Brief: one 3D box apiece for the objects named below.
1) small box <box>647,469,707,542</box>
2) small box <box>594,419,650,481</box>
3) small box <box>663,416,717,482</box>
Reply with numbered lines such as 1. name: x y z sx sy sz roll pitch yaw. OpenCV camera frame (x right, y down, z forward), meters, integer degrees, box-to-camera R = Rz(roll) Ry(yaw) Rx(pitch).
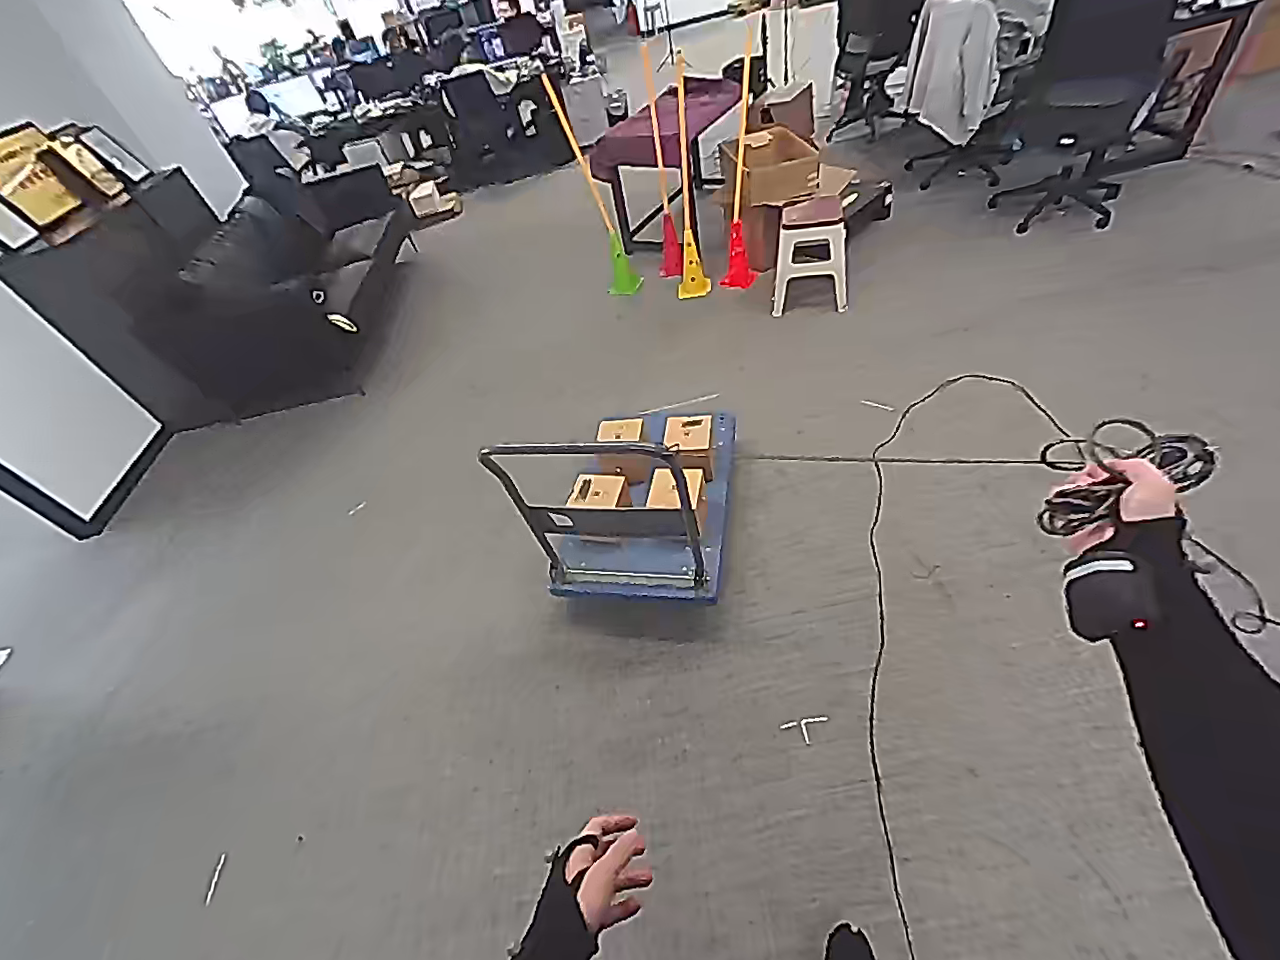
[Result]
1. small box: 0.131 0.085 1.820 0.168 0.176 0.179 1 49 16
2. small box: -0.061 -0.107 2.047 0.168 0.176 0.179 -2 48 13
3. small box: 0.188 -0.112 1.983 0.168 0.176 0.179 -1 49 15
